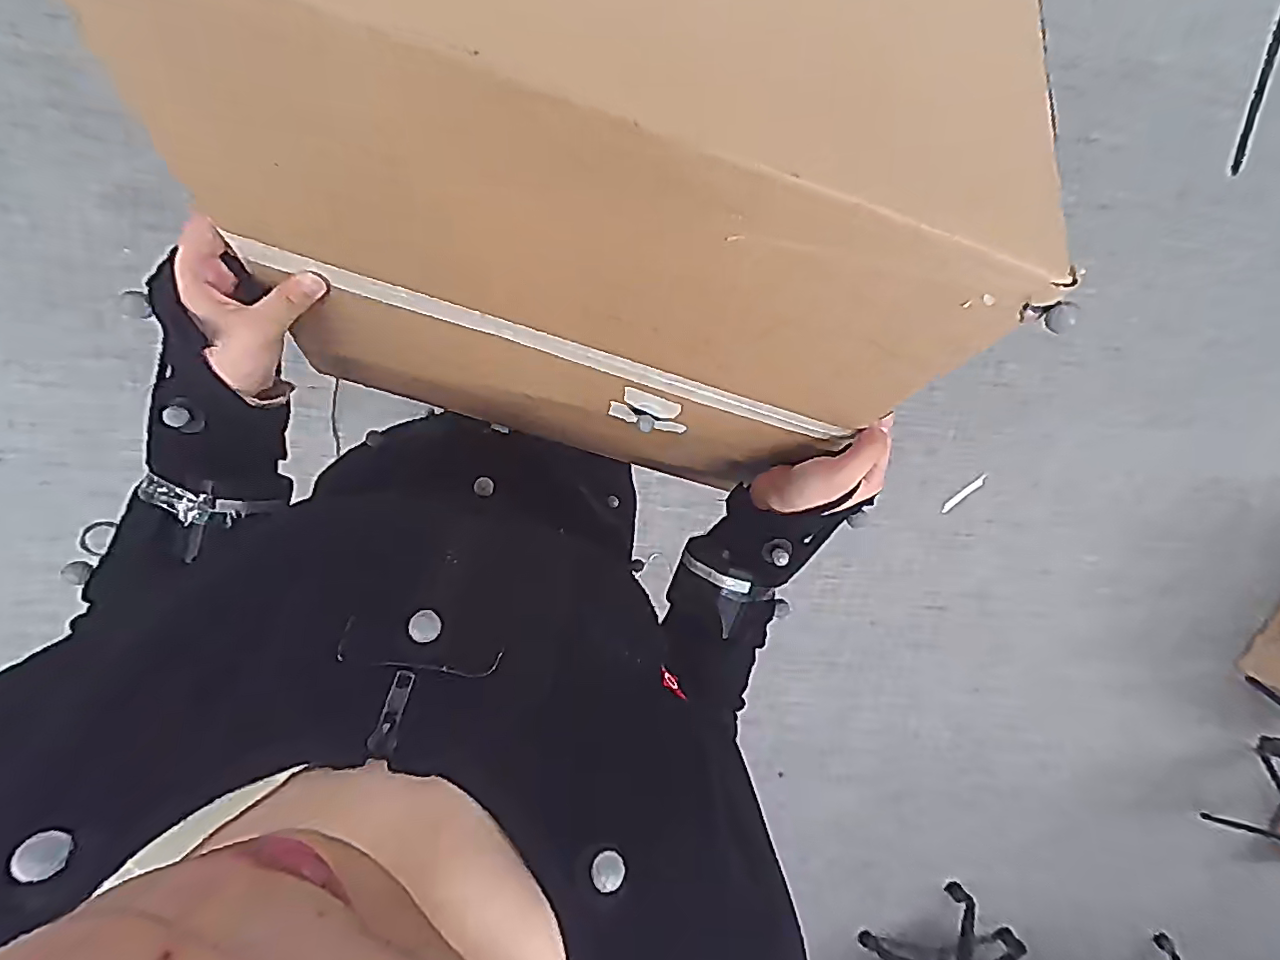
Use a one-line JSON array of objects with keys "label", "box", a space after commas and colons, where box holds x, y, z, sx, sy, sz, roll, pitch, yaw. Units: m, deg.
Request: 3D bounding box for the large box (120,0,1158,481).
[{"label": "large box", "box": [0.001, -0.234, 0.370, 0.408, 0.320, 0.320, 15, 70, -8]}]
